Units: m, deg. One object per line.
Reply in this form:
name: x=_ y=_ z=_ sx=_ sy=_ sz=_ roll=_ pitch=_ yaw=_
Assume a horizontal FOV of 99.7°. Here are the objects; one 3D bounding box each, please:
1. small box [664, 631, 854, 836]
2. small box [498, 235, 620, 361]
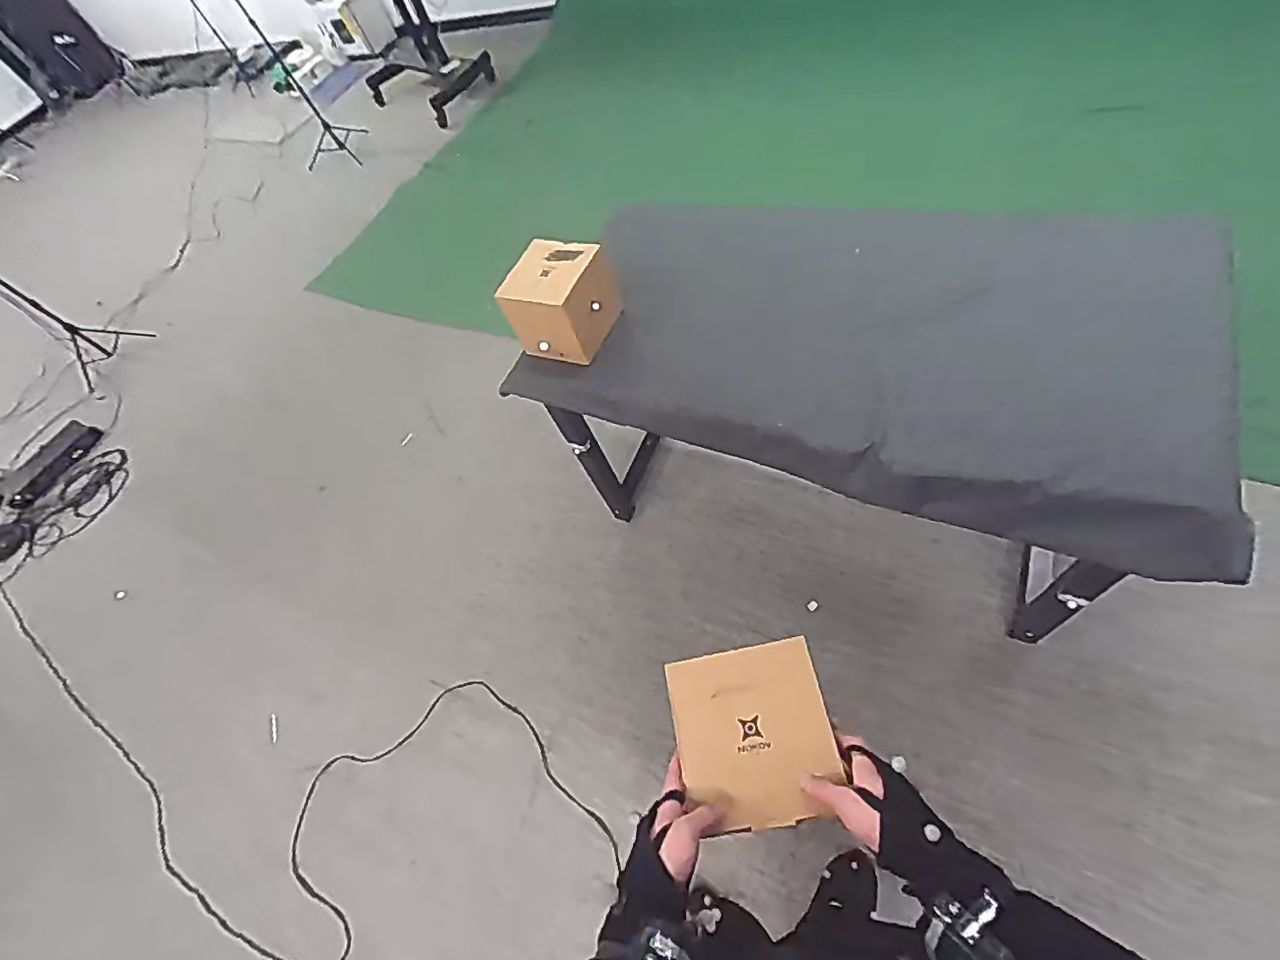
small box: x=0.135 y=0.297 z=0.634 sx=0.168 sy=0.176 sz=0.179 roll=-14 pitch=58 yaw=6
small box: x=-0.156 y=-0.379 z=1.128 sx=0.168 sy=0.176 sz=0.179 roll=16 pitch=65 yaw=24
